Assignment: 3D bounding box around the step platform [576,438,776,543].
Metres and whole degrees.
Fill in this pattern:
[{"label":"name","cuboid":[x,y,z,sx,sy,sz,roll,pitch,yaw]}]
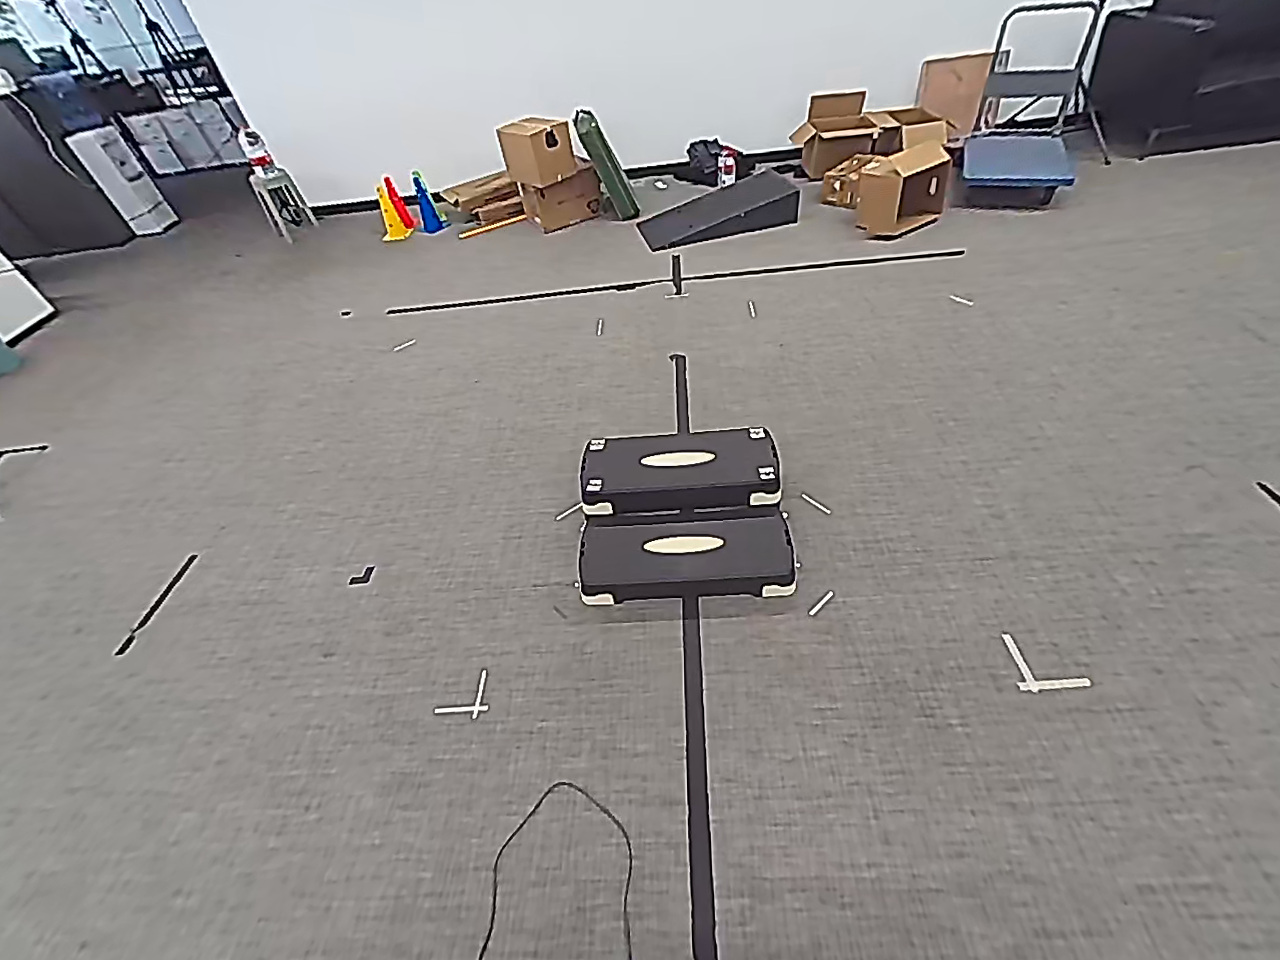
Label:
[{"label":"step platform","cuboid":[0.120,0.031,1.881,0.684,0.204,0.286,-4,46,4]}]
